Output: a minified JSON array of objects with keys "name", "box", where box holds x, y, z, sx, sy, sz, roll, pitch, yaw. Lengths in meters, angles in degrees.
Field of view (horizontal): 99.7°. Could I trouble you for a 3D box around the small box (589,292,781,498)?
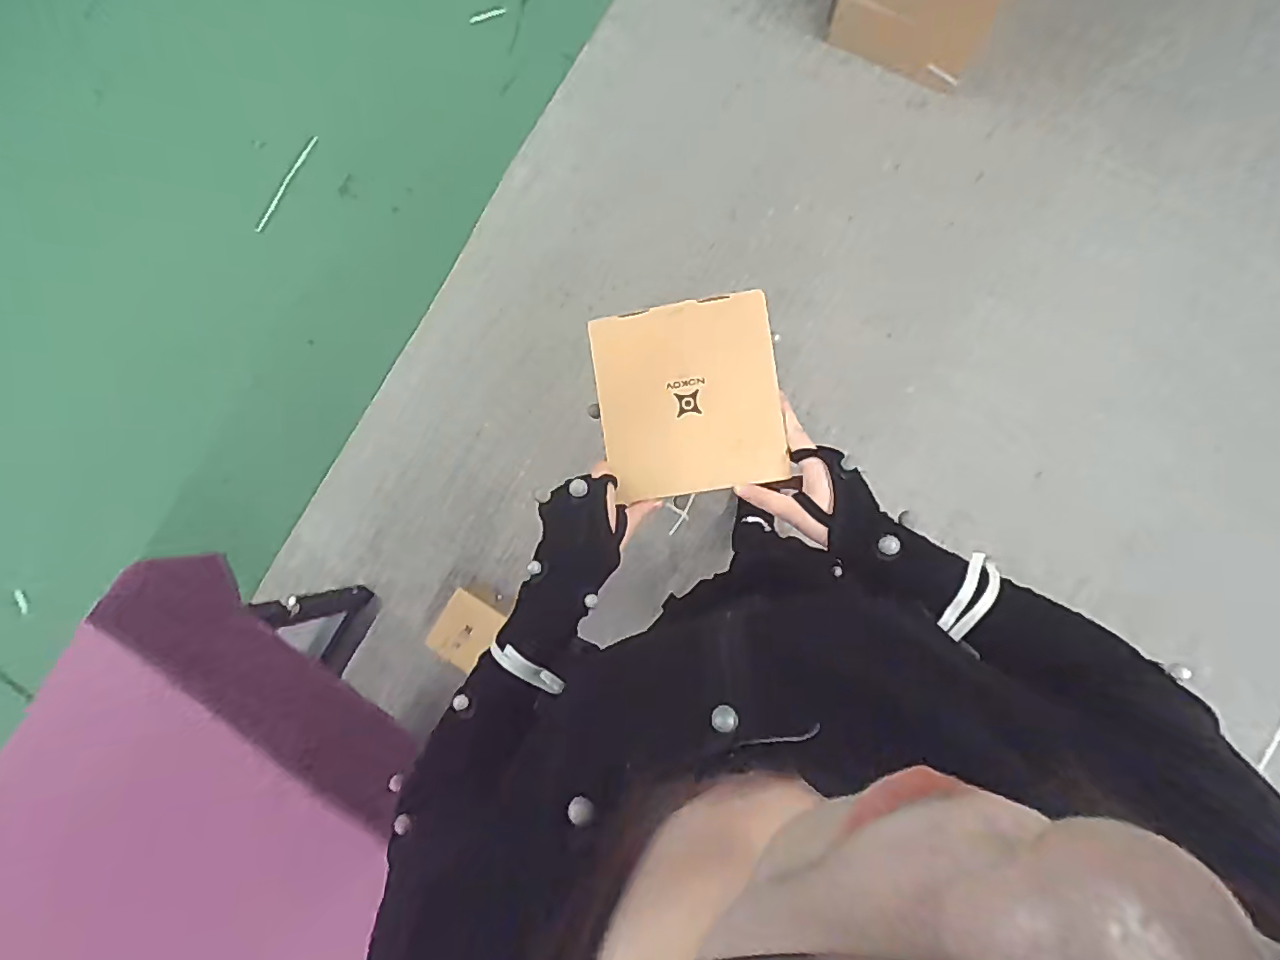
[{"name":"small box","box":[0.051,-0.080,0.585,0.168,0.176,0.179,-8,89,6]}]
